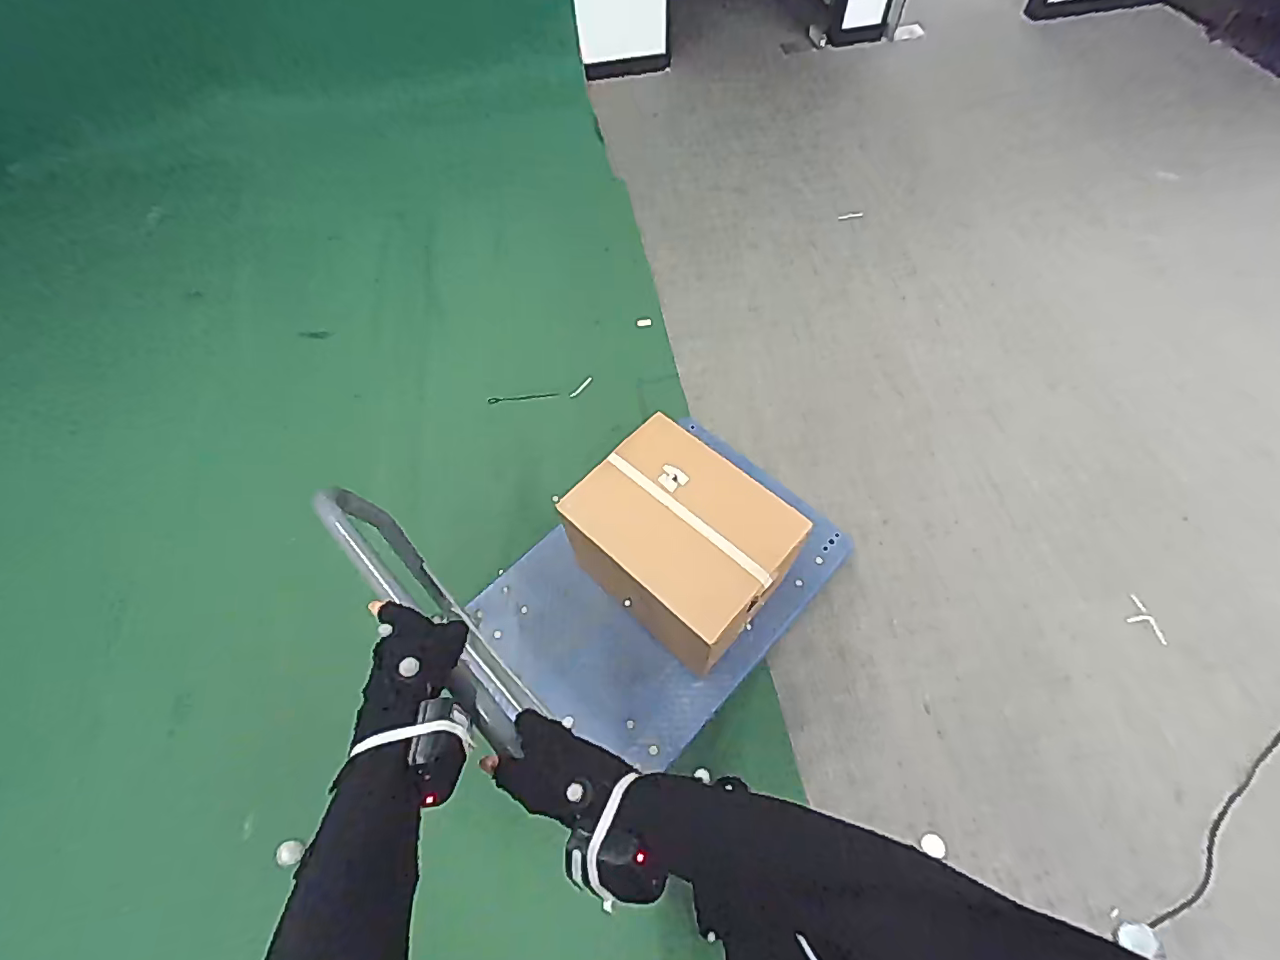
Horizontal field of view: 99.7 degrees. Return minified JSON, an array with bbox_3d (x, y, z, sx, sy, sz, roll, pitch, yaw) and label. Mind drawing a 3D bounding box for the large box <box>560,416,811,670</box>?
[{"bbox_3d":[0.093,0.143,1.188,0.408,0.320,0.320,39,68,22],"label":"large box"}]
